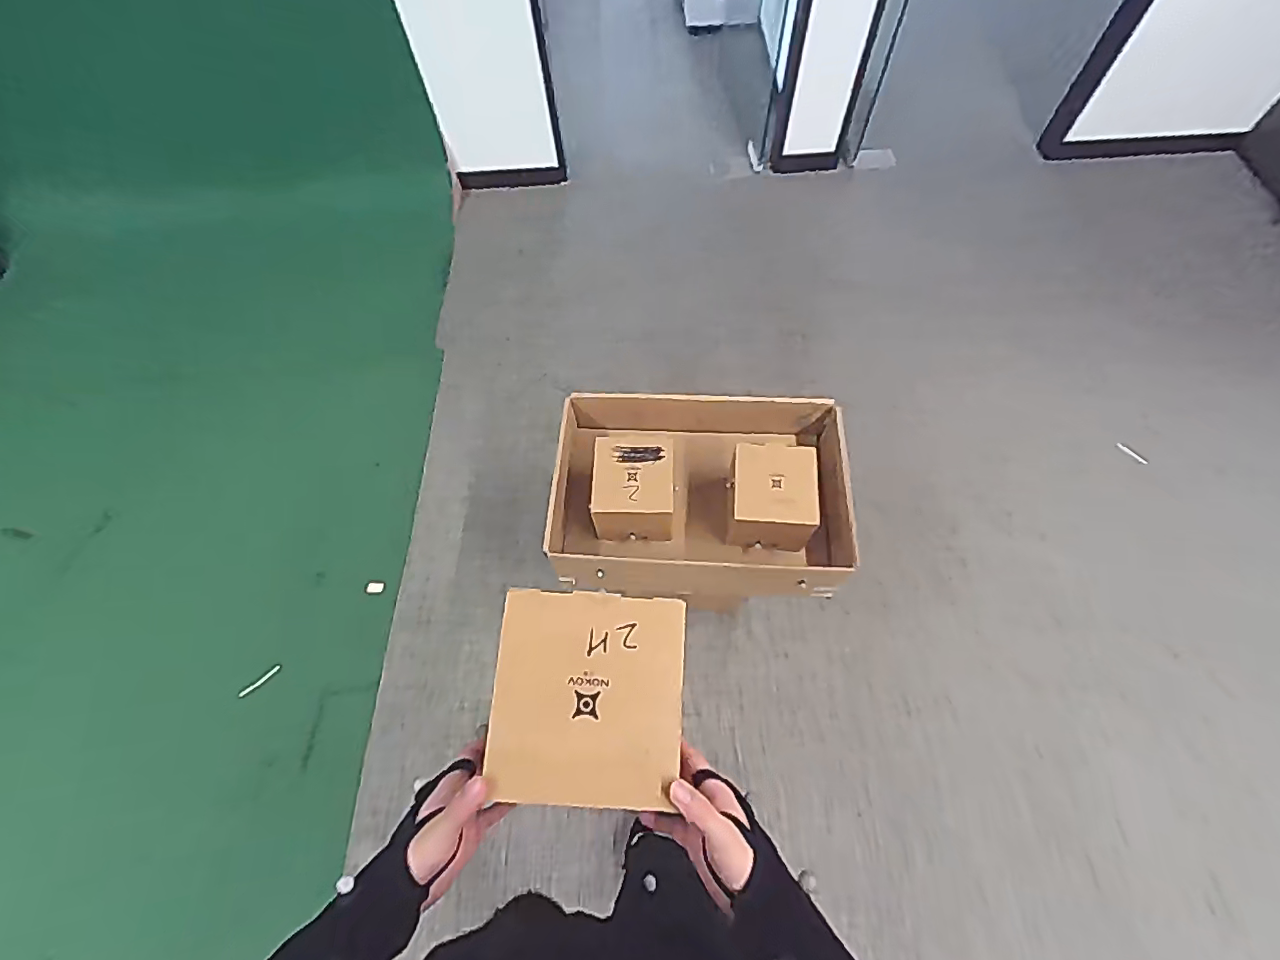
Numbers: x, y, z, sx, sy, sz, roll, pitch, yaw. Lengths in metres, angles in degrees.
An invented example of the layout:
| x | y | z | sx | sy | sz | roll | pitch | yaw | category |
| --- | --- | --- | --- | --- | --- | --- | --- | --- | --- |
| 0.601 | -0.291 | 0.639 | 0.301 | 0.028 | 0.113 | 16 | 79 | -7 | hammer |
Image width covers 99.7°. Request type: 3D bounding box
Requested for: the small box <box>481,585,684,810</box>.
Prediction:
| x | y | z | sx | sy | sz | roll | pitch | yaw | category |
| --- | --- | --- | --- | --- | --- | --- | --- | --- | --- |
| -0.048 | 0.210 | 0.548 | 0.168 | 0.176 | 0.179 | 4 | 71 | -1 | small box |
